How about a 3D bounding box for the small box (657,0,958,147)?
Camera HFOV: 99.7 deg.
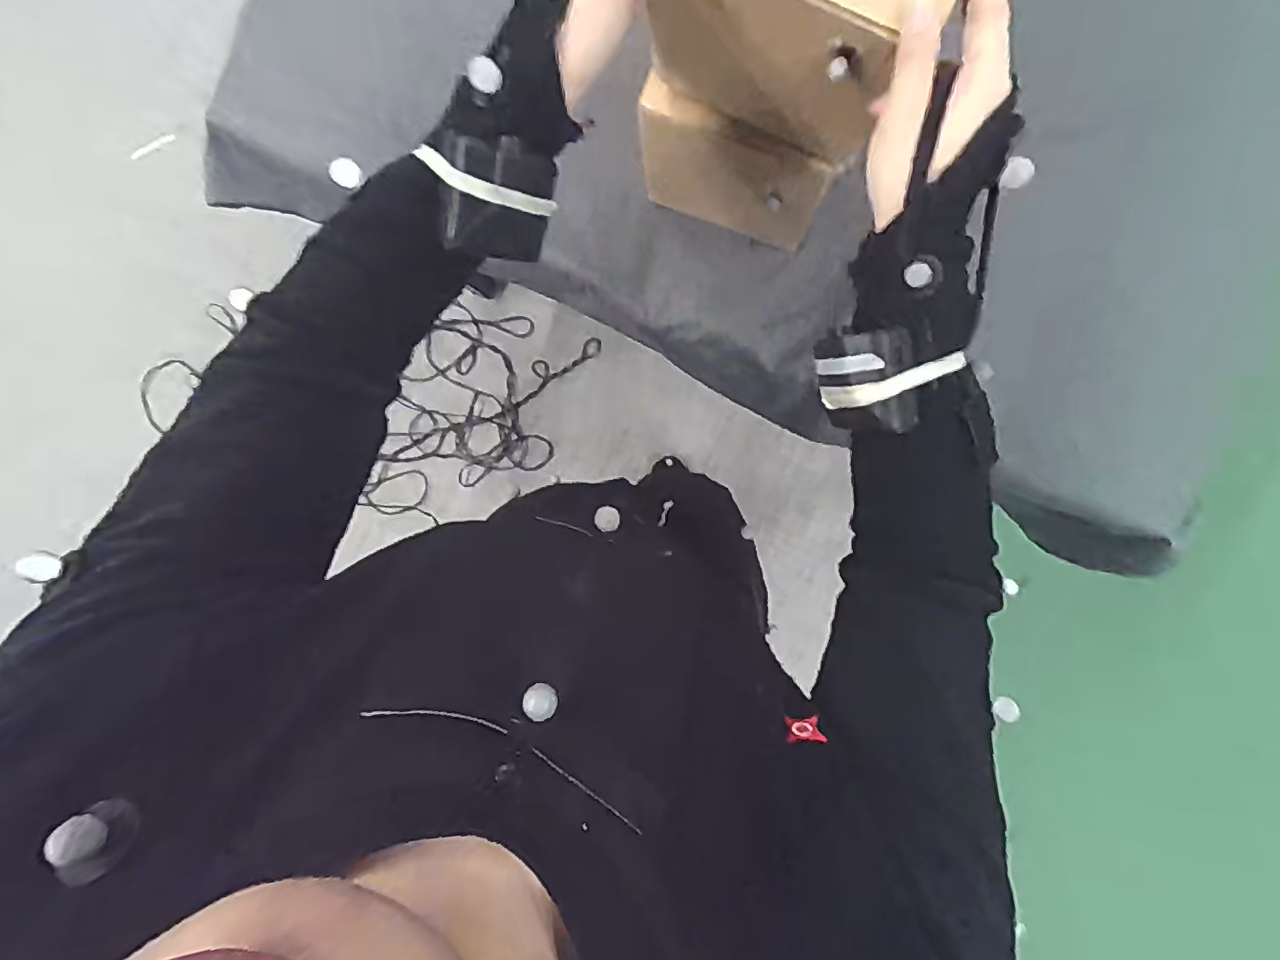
[{"bbox_3d":[0.116,-0.348,0.338,0.179,0.176,0.168,25,103,0],"label":"small box"}]
